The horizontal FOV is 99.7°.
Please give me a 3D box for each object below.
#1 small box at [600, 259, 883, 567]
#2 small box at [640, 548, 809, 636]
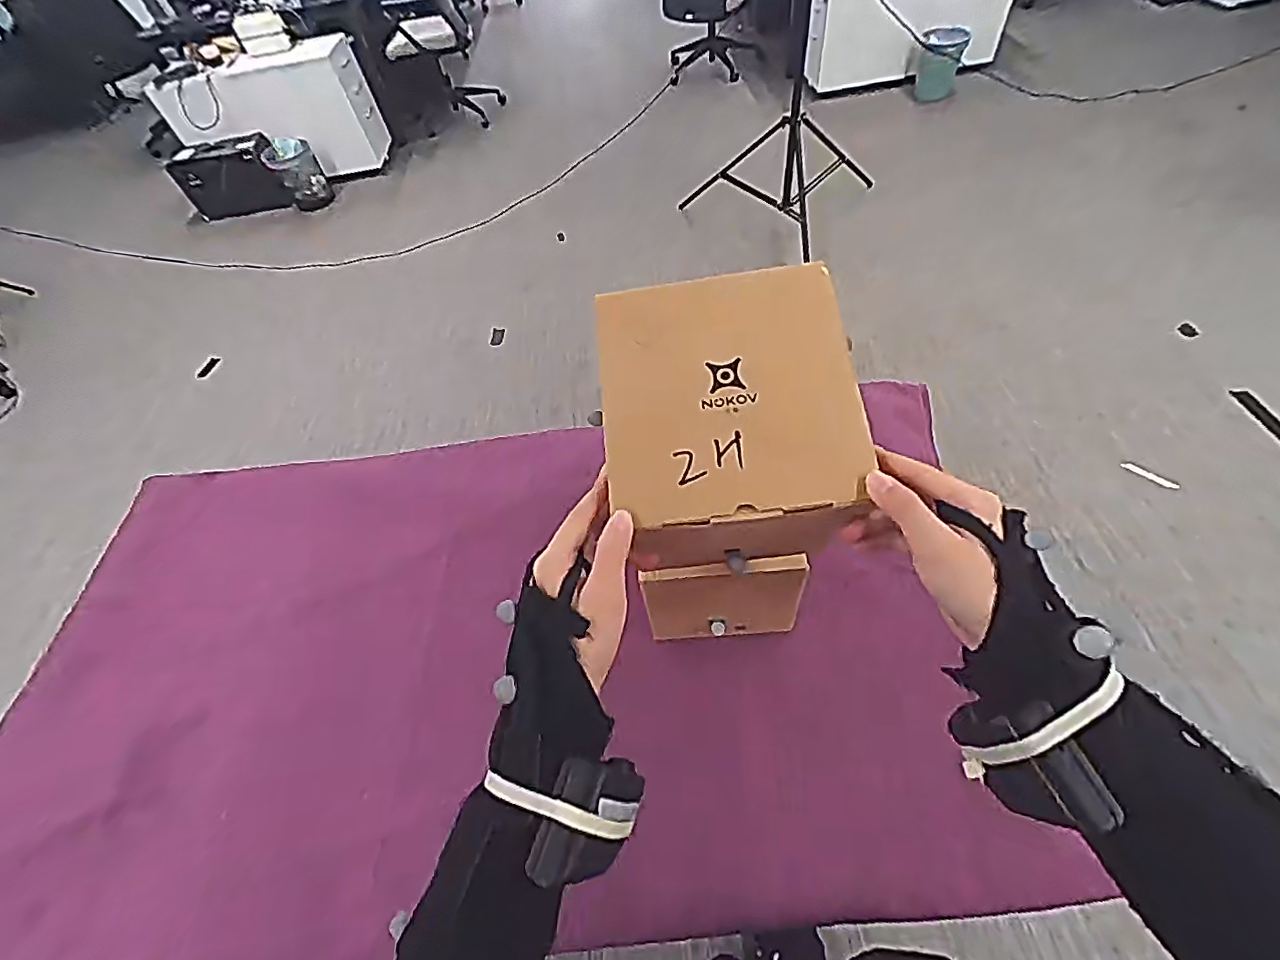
[{"bbox_3d":[0.065,-0.039,0.427,0.168,0.176,0.179,-7,71,5],"label":"small box"},{"bbox_3d":[0.088,0.066,0.633,0.168,0.176,0.179,-5,54,5],"label":"small box"}]
